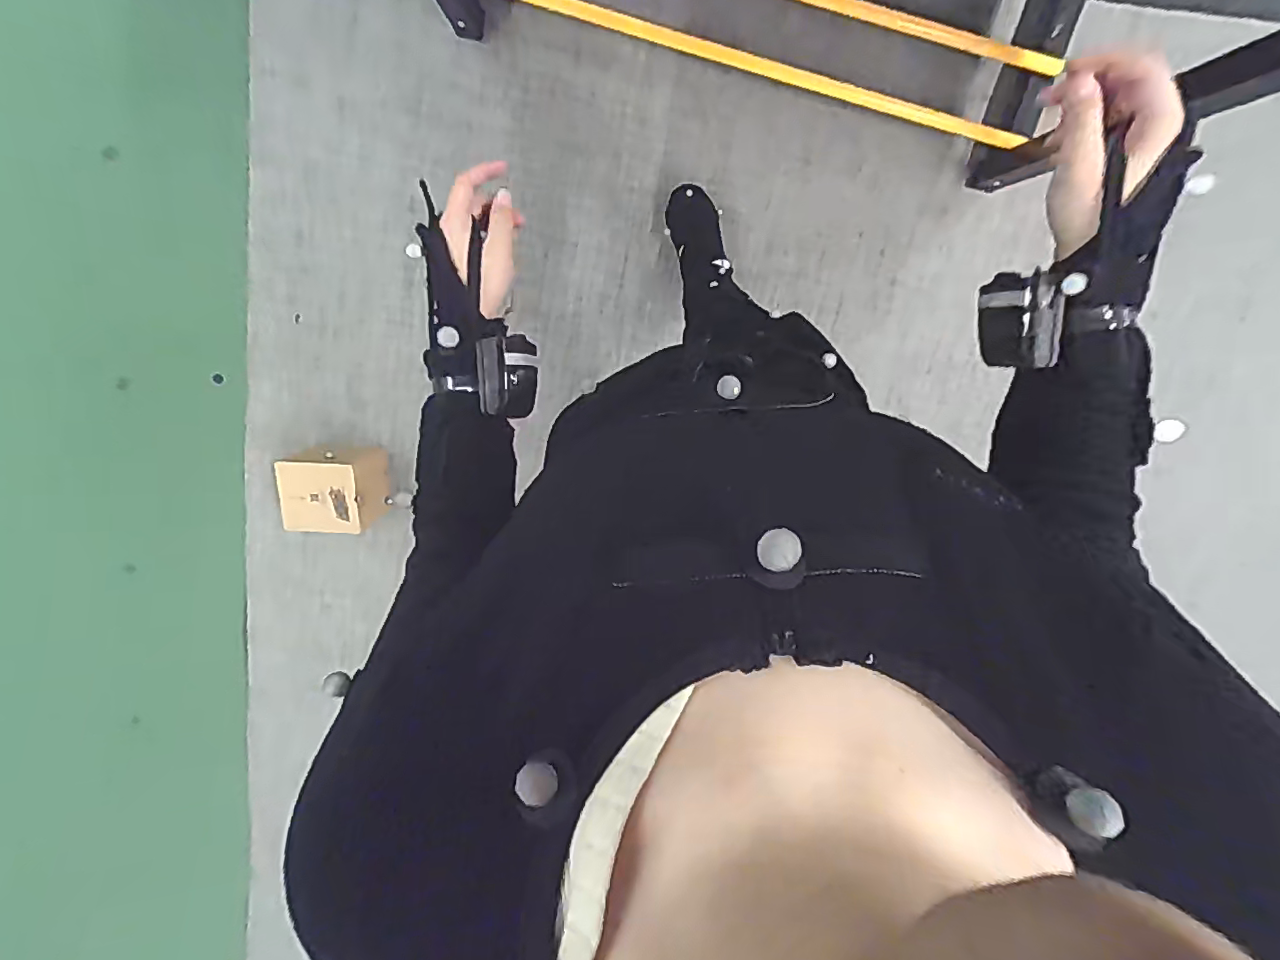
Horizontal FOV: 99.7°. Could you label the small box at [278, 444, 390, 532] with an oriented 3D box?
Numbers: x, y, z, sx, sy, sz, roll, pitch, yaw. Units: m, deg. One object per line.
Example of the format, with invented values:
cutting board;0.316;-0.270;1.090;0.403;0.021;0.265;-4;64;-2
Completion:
small box;-0.708;0.013;1.277;0.179;0.176;0.168;3;107;-1
